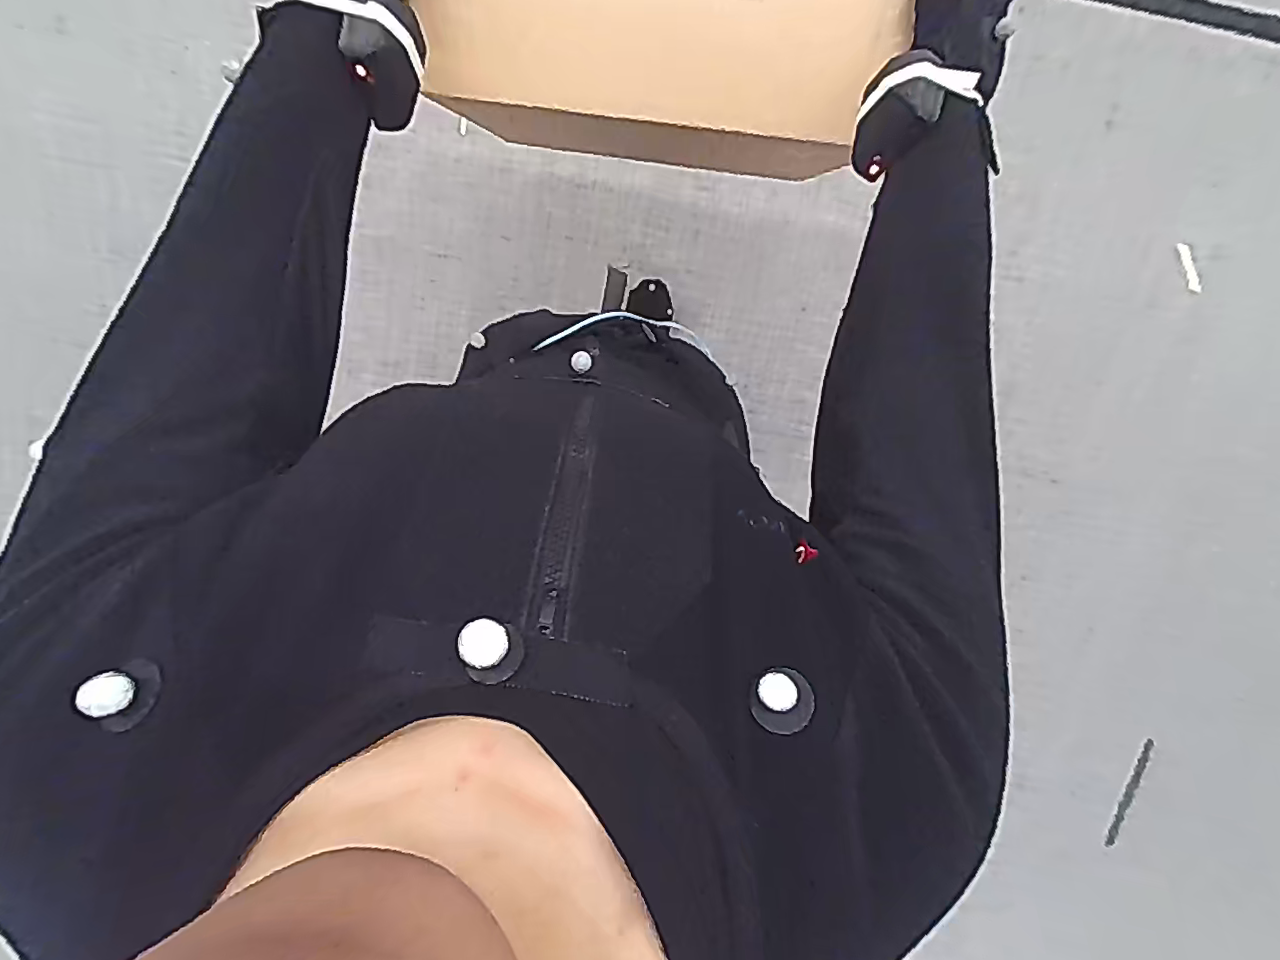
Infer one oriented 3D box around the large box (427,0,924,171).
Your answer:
[{"bbox_3d":[0.034,-0.511,0.533,0.408,0.320,0.320,5,116,-2],"label":"large box"}]
